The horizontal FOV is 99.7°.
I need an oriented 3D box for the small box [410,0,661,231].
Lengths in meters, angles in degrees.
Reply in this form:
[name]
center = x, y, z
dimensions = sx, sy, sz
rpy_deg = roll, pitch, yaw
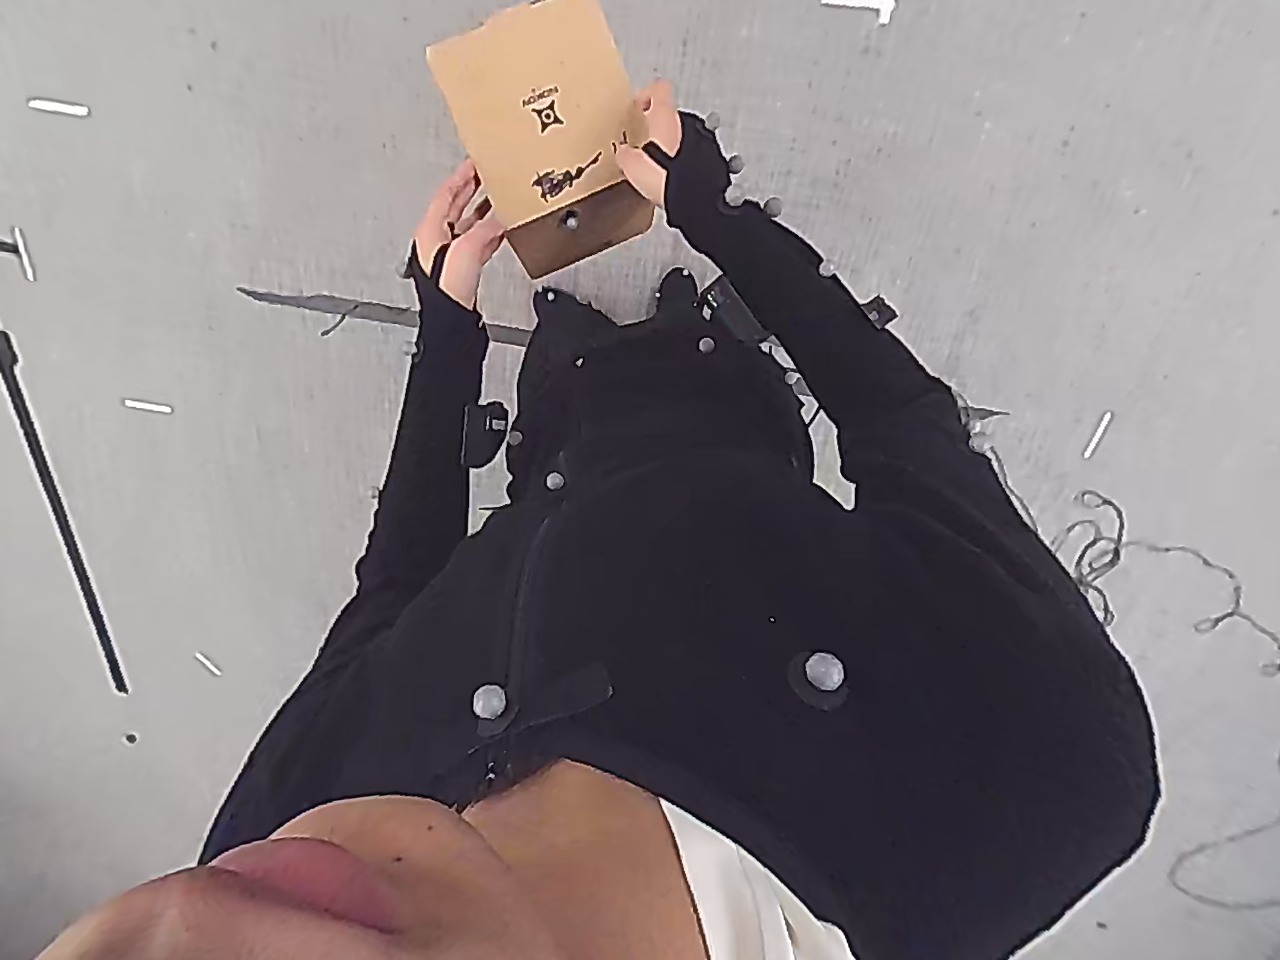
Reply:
[small box]
center = -0.093, -0.369, 0.506
dimensions = 0.168, 0.176, 0.179
rpy_deg = -22, 98, 0
